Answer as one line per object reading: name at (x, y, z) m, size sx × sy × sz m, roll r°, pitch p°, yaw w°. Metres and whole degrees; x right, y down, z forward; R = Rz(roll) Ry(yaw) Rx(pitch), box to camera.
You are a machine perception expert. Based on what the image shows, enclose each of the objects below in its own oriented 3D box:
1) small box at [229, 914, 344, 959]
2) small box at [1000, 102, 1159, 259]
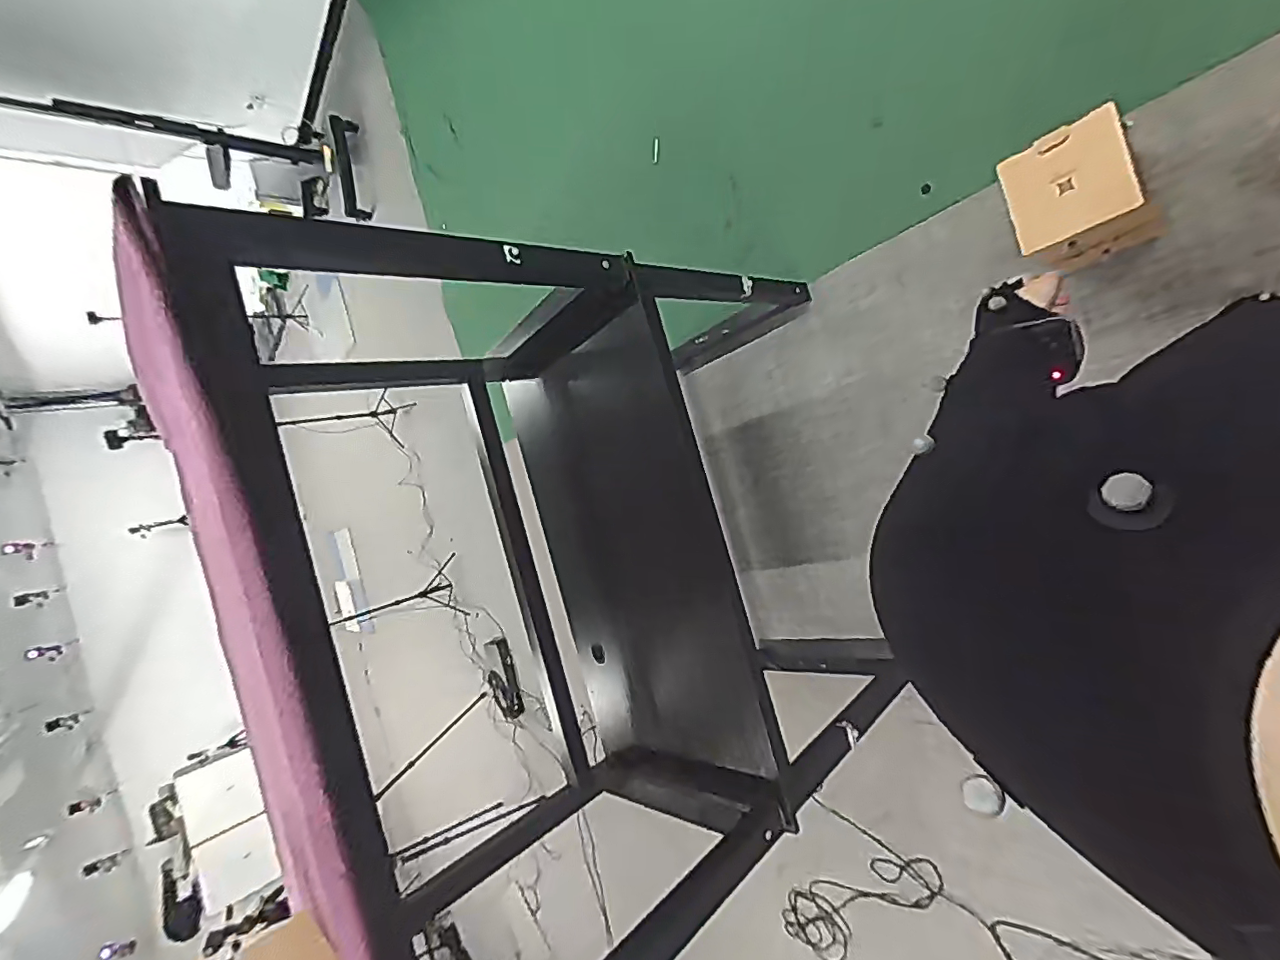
small box at (-0.421, 0.641, 0.604) m, size 0.179 × 0.176 × 0.168 m, roll -23°, pitch 84°, yaw 47°
small box at (0.771, -0.506, 0.946) m, size 0.168 × 0.176 × 0.179 m, roll -19°, pitch 85°, yaw 49°
